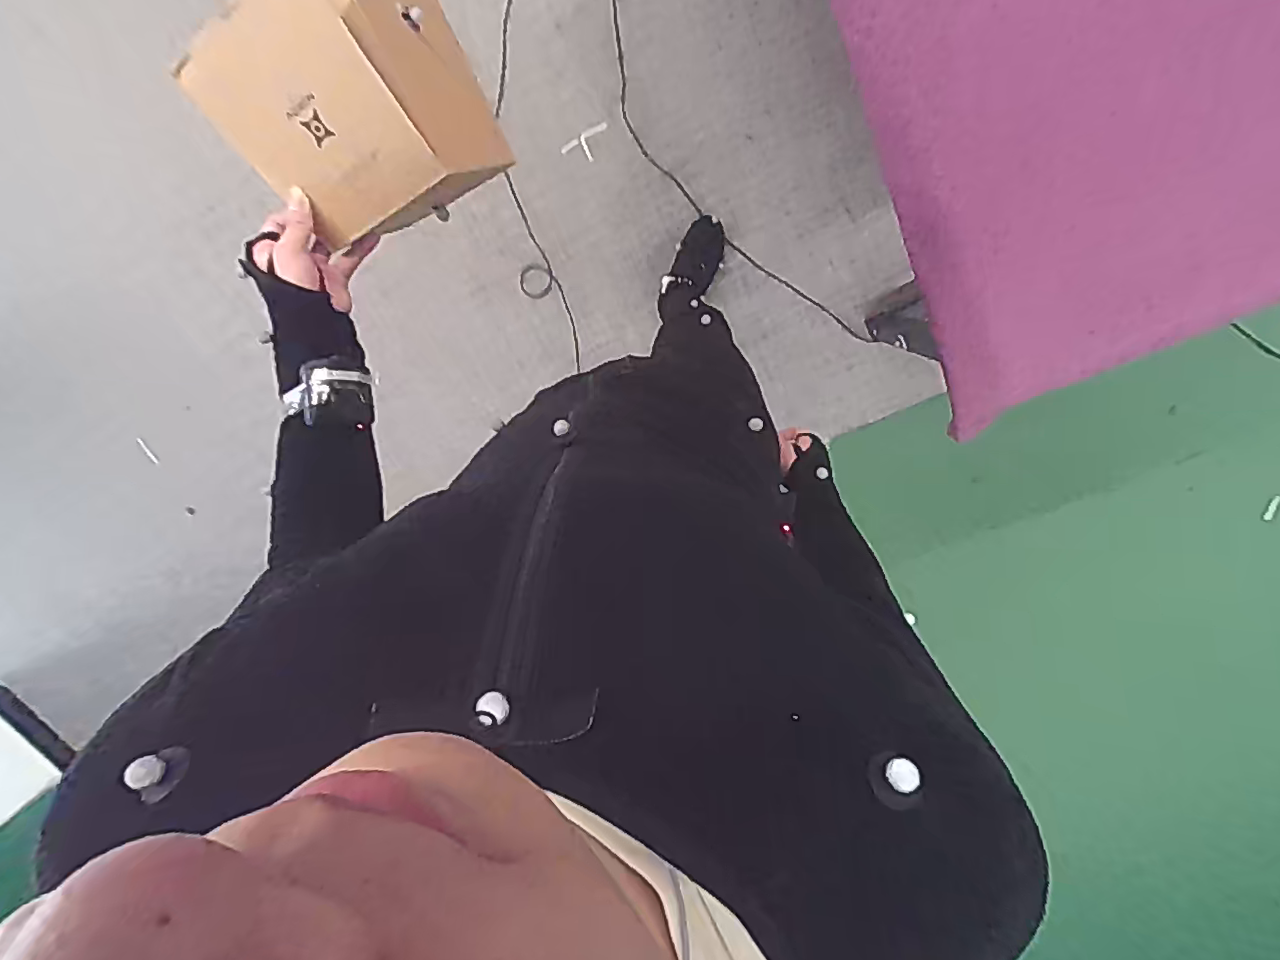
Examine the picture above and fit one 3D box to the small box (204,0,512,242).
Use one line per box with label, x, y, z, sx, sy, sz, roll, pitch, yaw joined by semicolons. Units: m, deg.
small box;-0.264;-0.372;0.548;0.168;0.176;0.179;-15;119;24
